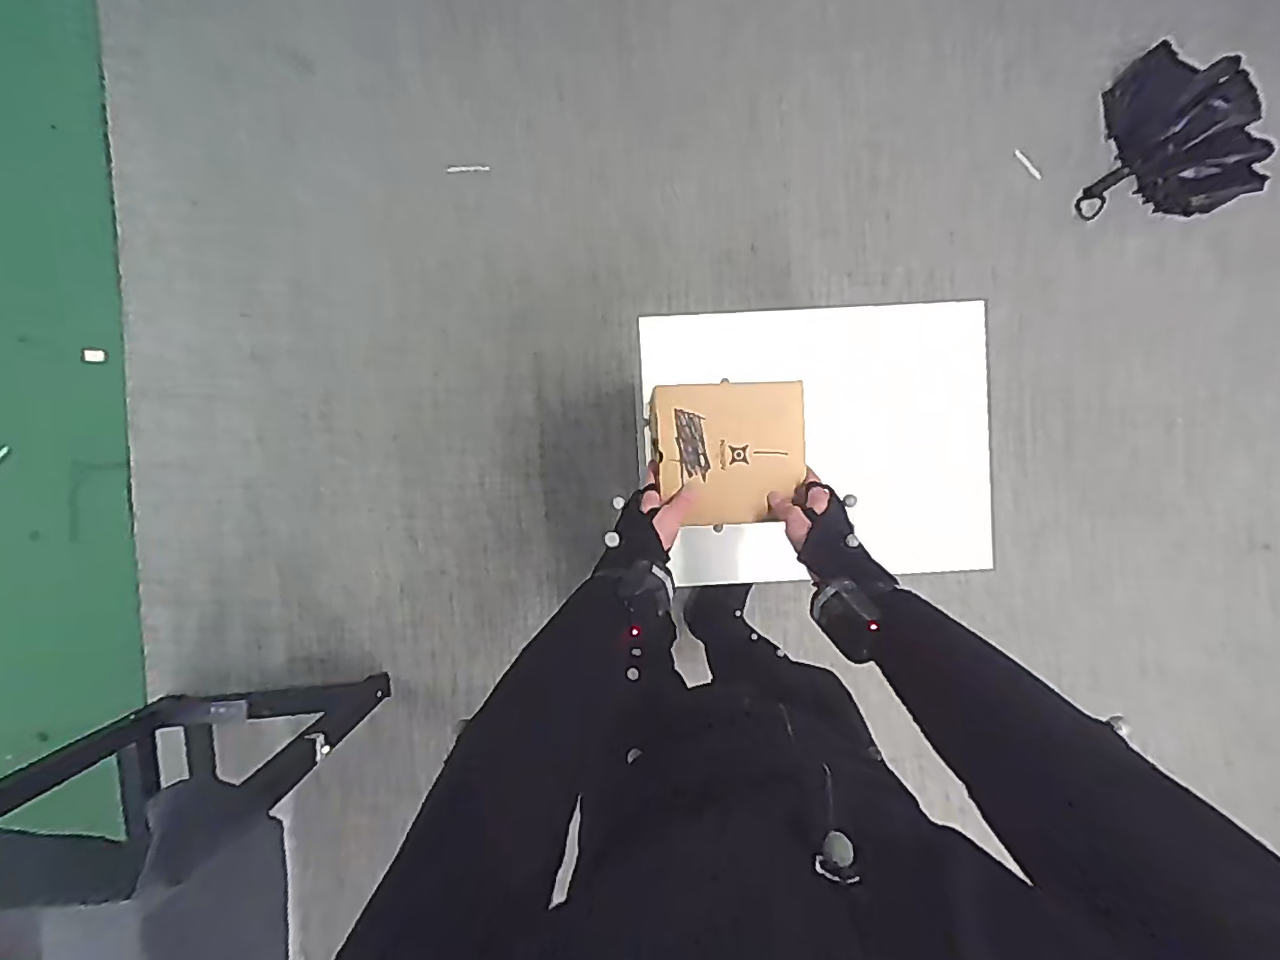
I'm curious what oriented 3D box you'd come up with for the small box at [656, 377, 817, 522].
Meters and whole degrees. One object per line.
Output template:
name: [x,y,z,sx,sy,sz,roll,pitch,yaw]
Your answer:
small box: [0.111,-0.037,0.693,0.179,0.176,0.168,-2,93,-3]
